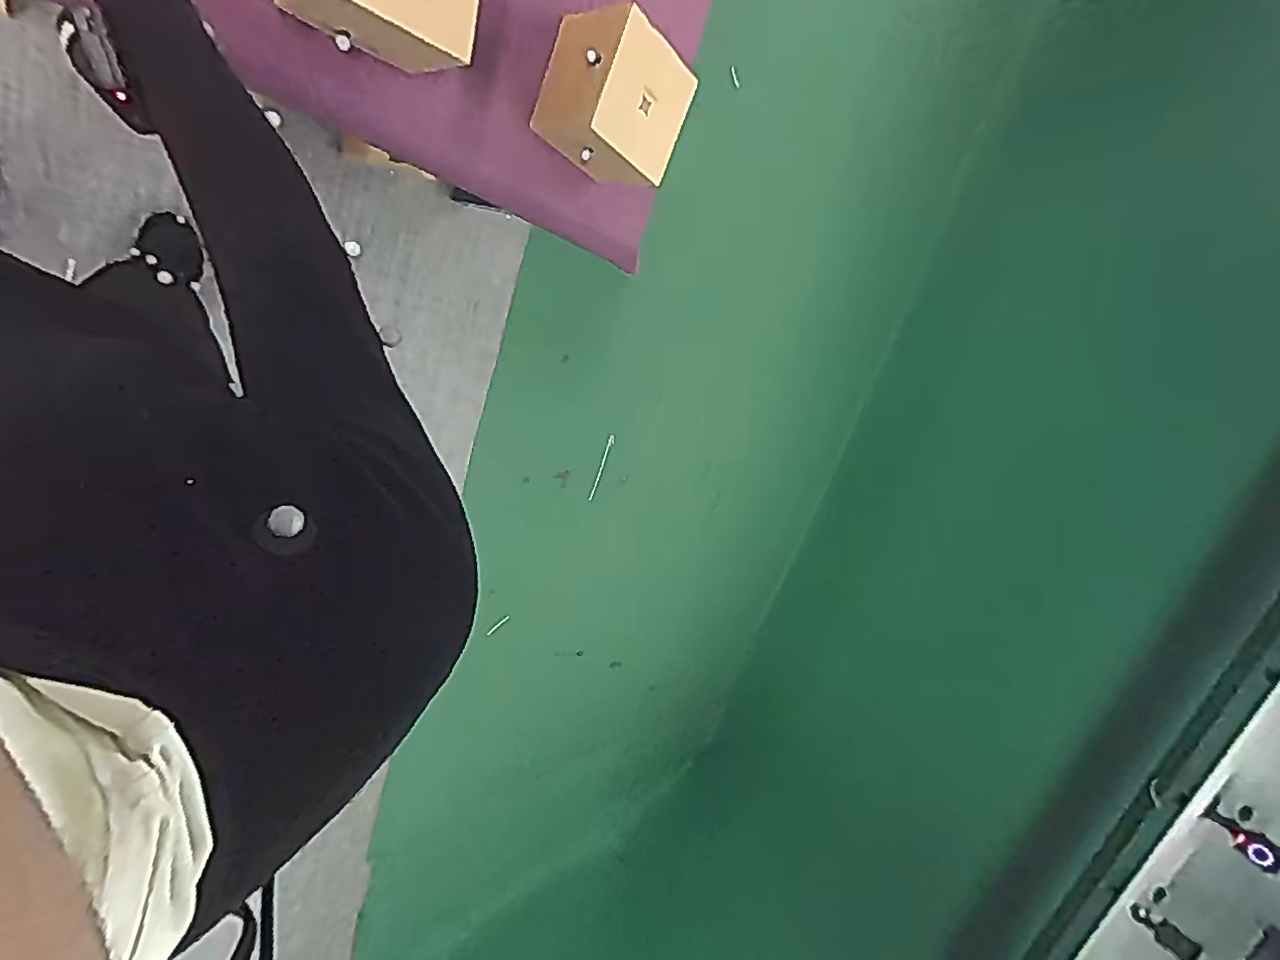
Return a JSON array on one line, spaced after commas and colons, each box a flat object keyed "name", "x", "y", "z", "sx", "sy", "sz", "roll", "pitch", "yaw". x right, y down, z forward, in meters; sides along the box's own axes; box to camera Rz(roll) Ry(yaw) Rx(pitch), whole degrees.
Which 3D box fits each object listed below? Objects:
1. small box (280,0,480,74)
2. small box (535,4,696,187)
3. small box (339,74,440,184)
[{"name": "small box", "x": -0.291, "y": -0.594, "z": 0.604, "sx": 0.168, "sy": 0.176, "sz": 0.179, "roll": -4, "pitch": 116, "yaw": -47}, {"name": "small box", "x": -0.045, "y": -0.605, "z": 0.876, "sx": 0.168, "sy": 0.176, "sz": 0.179, "roll": 10, "pitch": 104, "yaw": -50}, {"name": "small box", "x": -0.602, "y": -0.830, "z": 1.291, "sx": 0.168, "sy": 0.176, "sz": 0.179, "roll": -8, "pitch": 119, "yaw": -46}]
